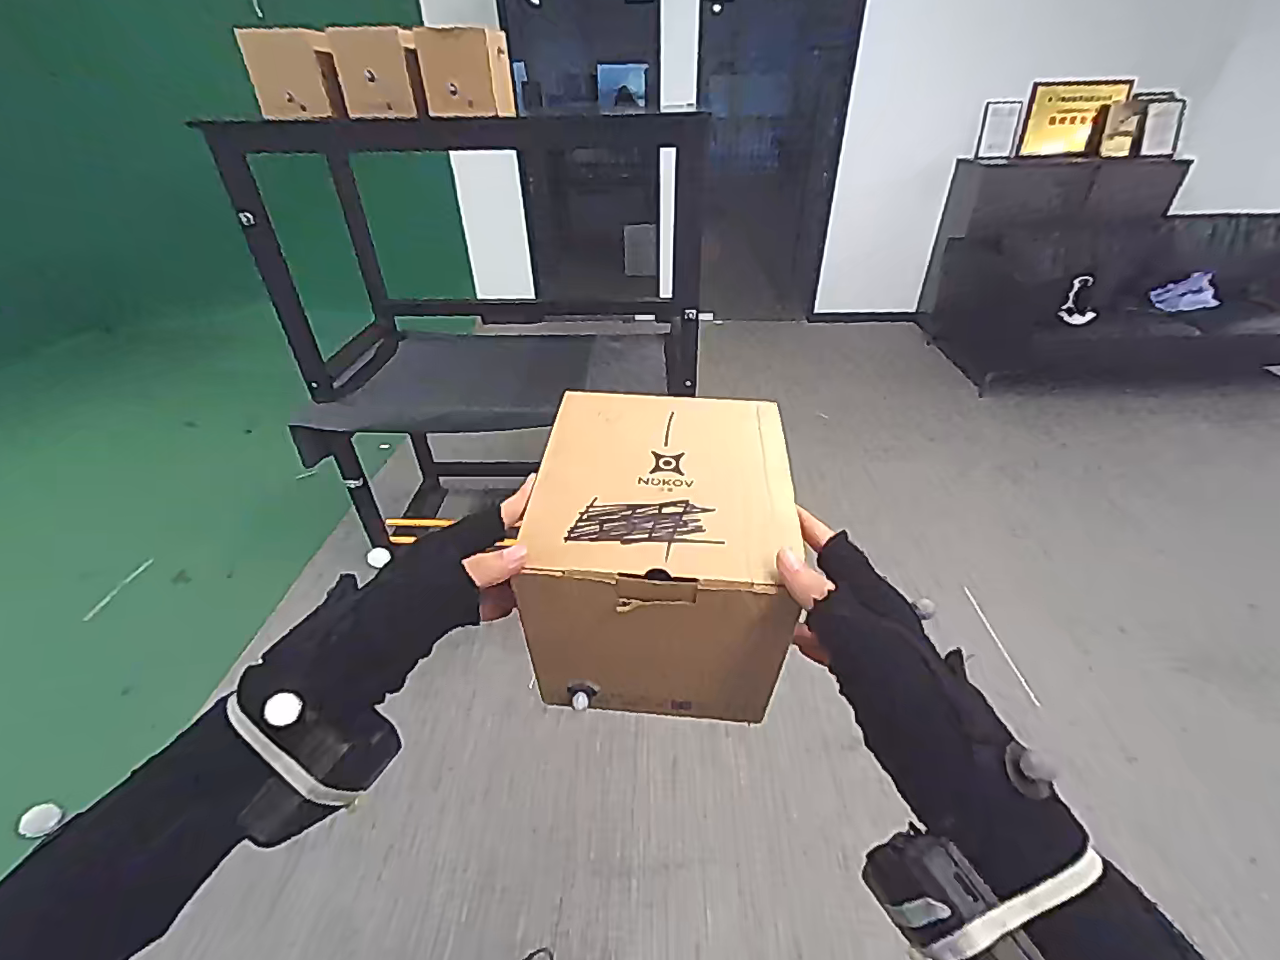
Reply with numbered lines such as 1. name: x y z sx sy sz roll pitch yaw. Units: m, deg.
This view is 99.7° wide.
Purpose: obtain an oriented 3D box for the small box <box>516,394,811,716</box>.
1. small box: 0.019 0.056 0.407 0.168 0.176 0.179 4 42 3

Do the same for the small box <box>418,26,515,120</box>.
1. small box: -0.403 -0.966 1.291 0.168 0.176 0.179 1 36 2
